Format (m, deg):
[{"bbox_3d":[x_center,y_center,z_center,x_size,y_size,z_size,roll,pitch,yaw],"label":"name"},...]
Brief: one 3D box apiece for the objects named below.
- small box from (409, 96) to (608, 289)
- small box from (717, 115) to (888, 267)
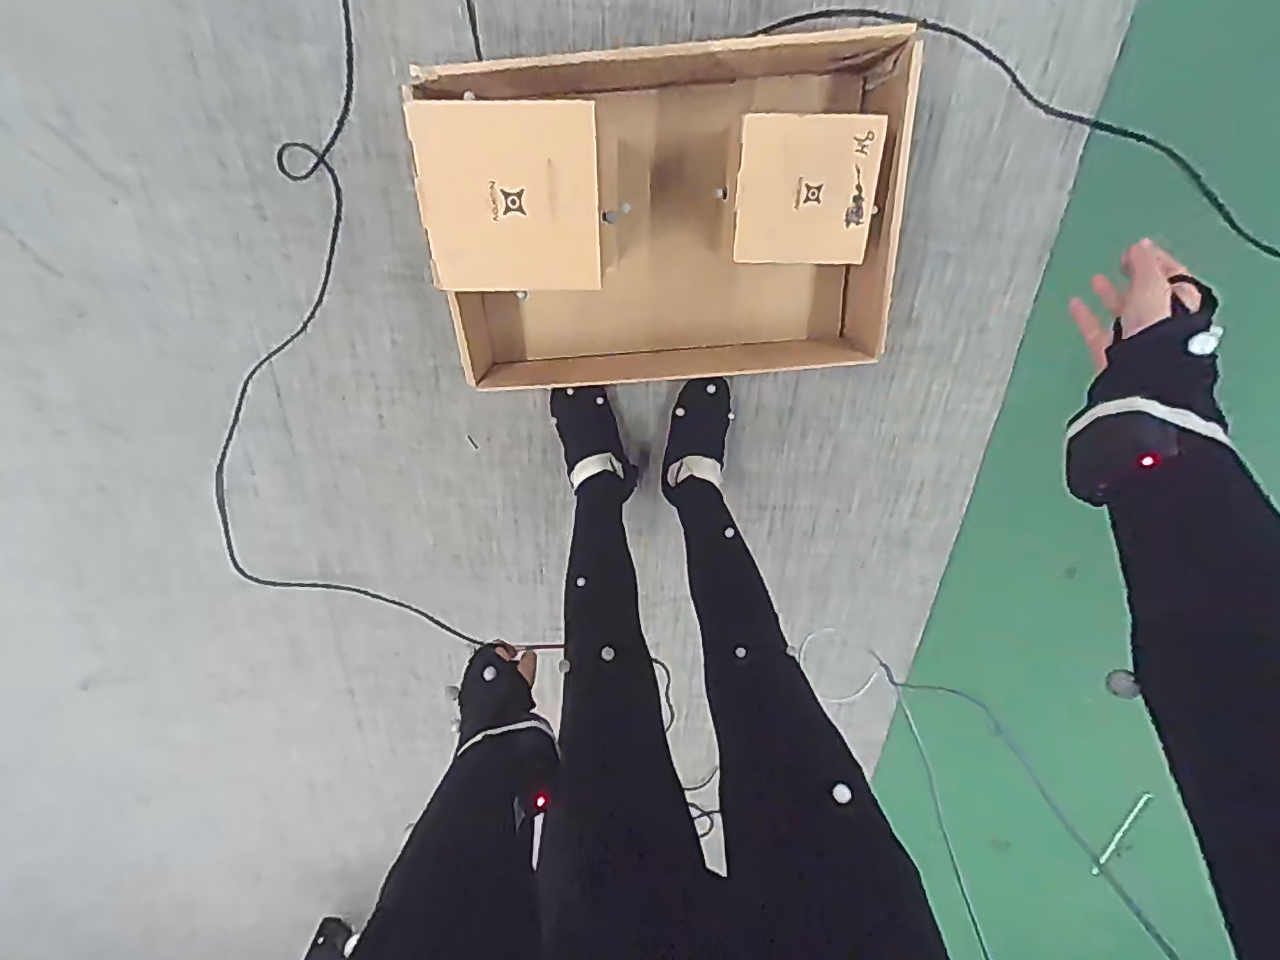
[{"bbox_3d":[-0.126,-0.308,0.596,0.179,0.176,0.168,0,117,-2],"label":"small box"},{"bbox_3d":[0.205,-0.389,0.745,0.179,0.176,0.168,1,116,-1],"label":"small box"}]
